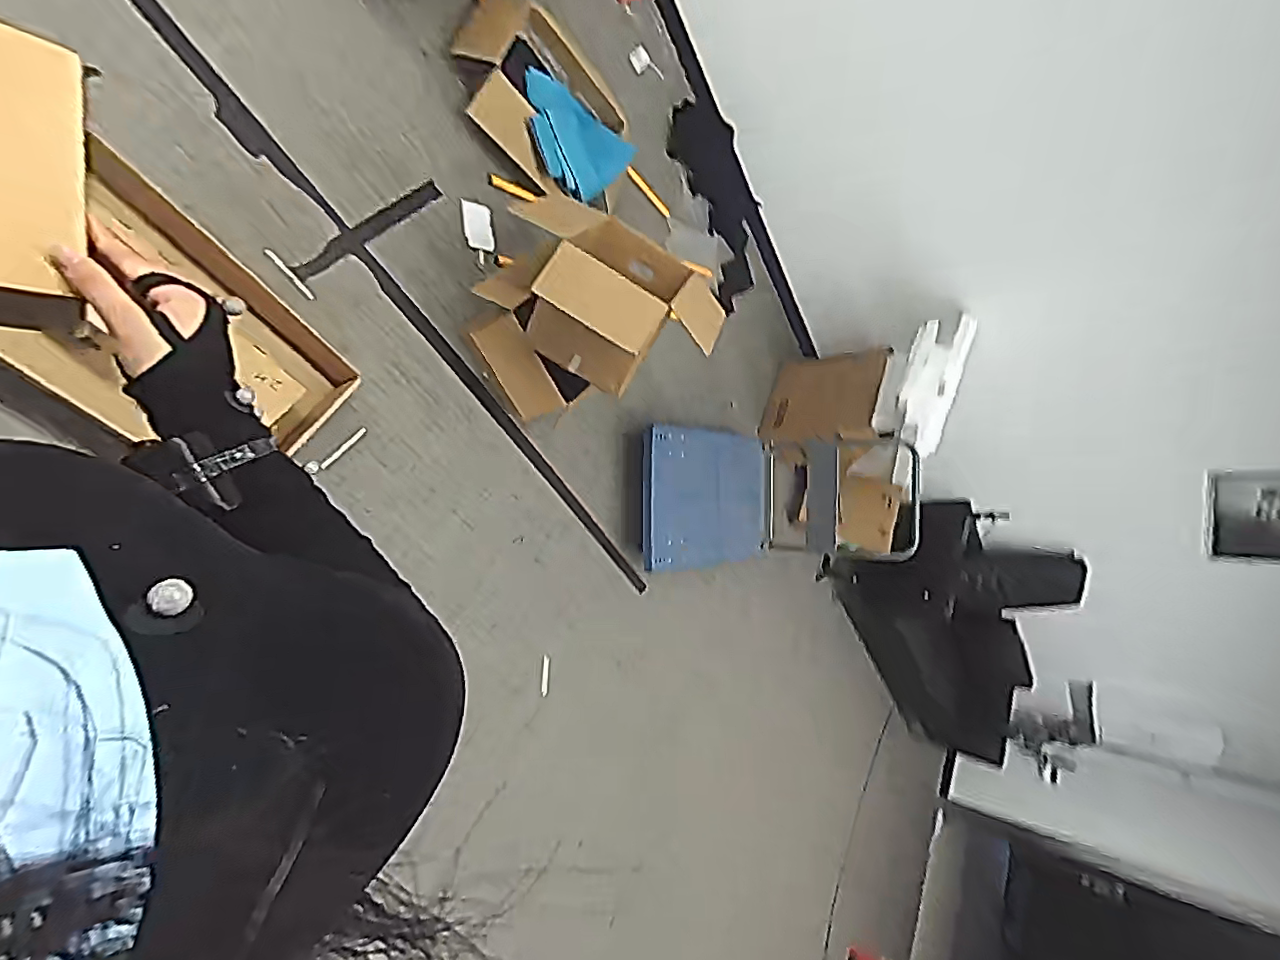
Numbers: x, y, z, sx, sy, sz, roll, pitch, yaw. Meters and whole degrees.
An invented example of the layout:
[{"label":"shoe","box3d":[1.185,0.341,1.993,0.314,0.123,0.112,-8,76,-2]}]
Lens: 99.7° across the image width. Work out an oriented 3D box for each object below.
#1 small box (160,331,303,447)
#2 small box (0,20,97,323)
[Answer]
[{"label":"small box","box3d":[-0.869,-0.184,1.148,0.168,0.176,0.179,52,53,-33]},{"label":"small box","box3d":[-0.492,-0.209,0.362,0.179,0.176,0.168,-3,95,-45]}]
